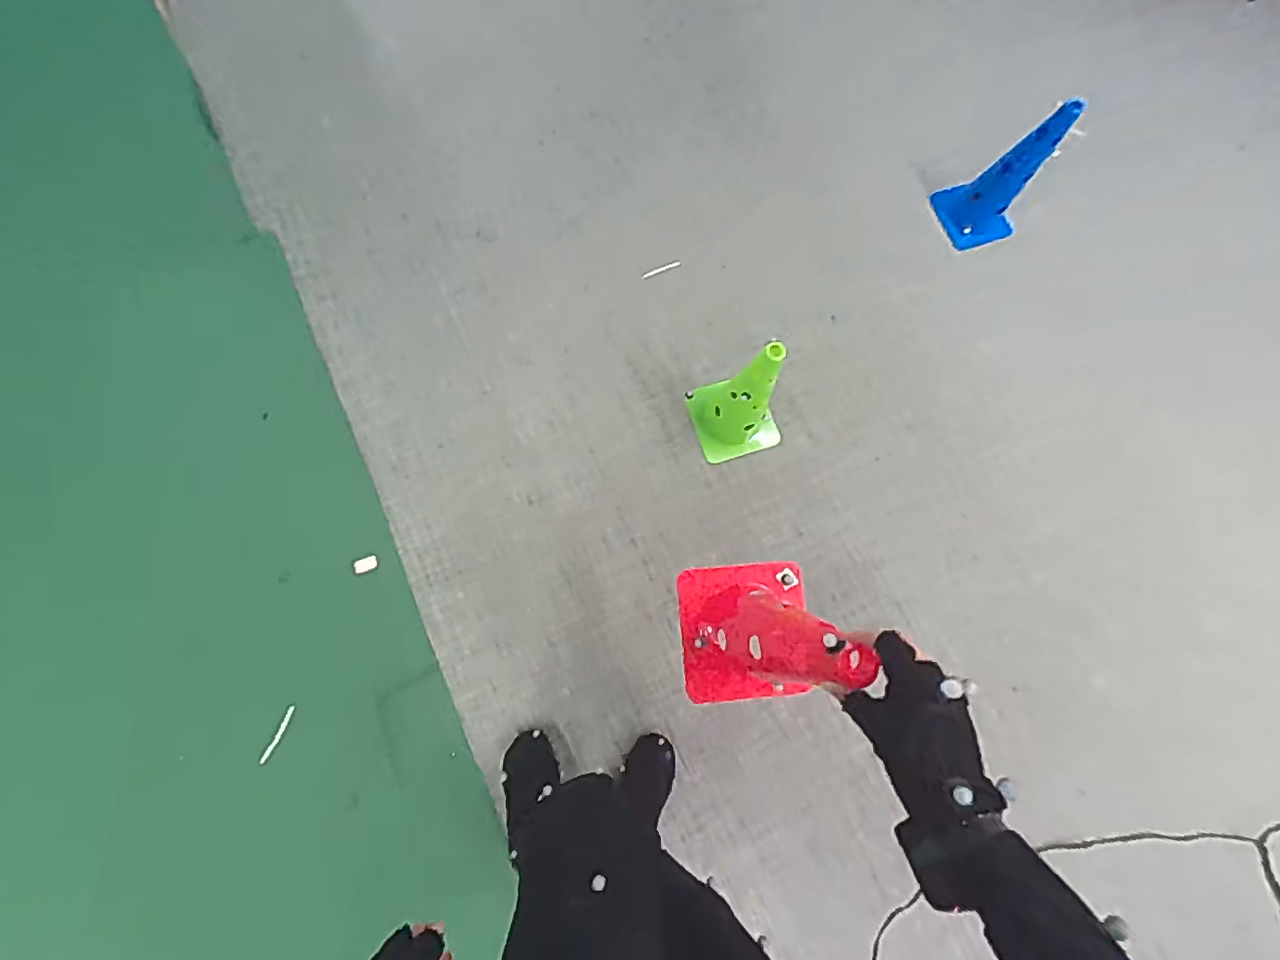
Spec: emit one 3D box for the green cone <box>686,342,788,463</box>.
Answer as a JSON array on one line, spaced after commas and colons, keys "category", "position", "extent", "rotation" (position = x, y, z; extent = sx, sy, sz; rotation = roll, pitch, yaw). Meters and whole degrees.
[{"category": "green cone", "position": [0.248, -0.197, 1.209], "extent": [0.202, 0.368, 0.200], "rotation": [-18, 77, -9]}]
